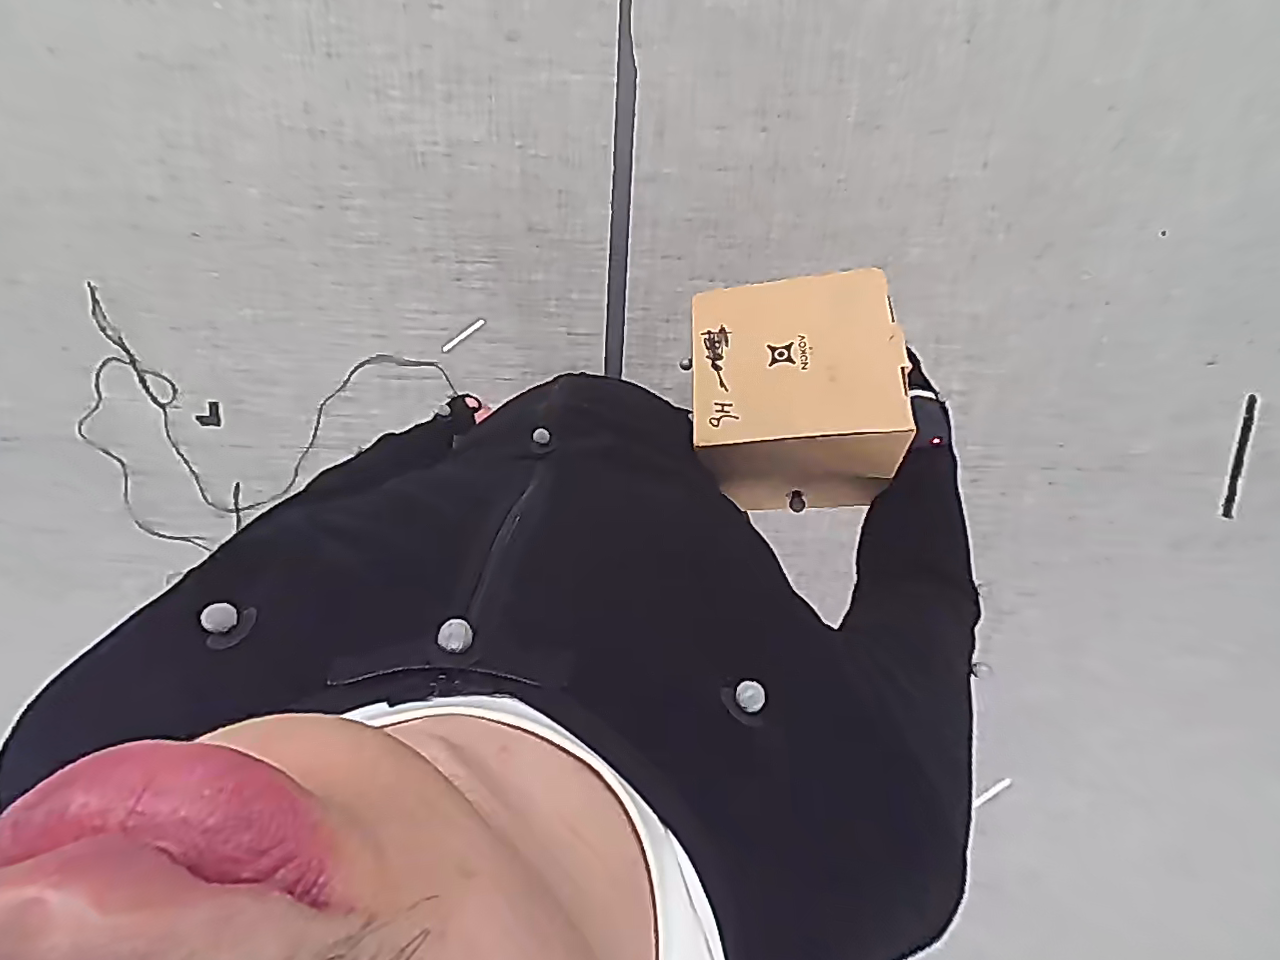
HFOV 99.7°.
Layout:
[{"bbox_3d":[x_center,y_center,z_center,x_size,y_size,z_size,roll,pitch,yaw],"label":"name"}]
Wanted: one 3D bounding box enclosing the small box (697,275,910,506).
[{"bbox_3d":[0.154,-0.079,0.556,0.179,0.176,0.168,-3,66,12],"label":"small box"}]
